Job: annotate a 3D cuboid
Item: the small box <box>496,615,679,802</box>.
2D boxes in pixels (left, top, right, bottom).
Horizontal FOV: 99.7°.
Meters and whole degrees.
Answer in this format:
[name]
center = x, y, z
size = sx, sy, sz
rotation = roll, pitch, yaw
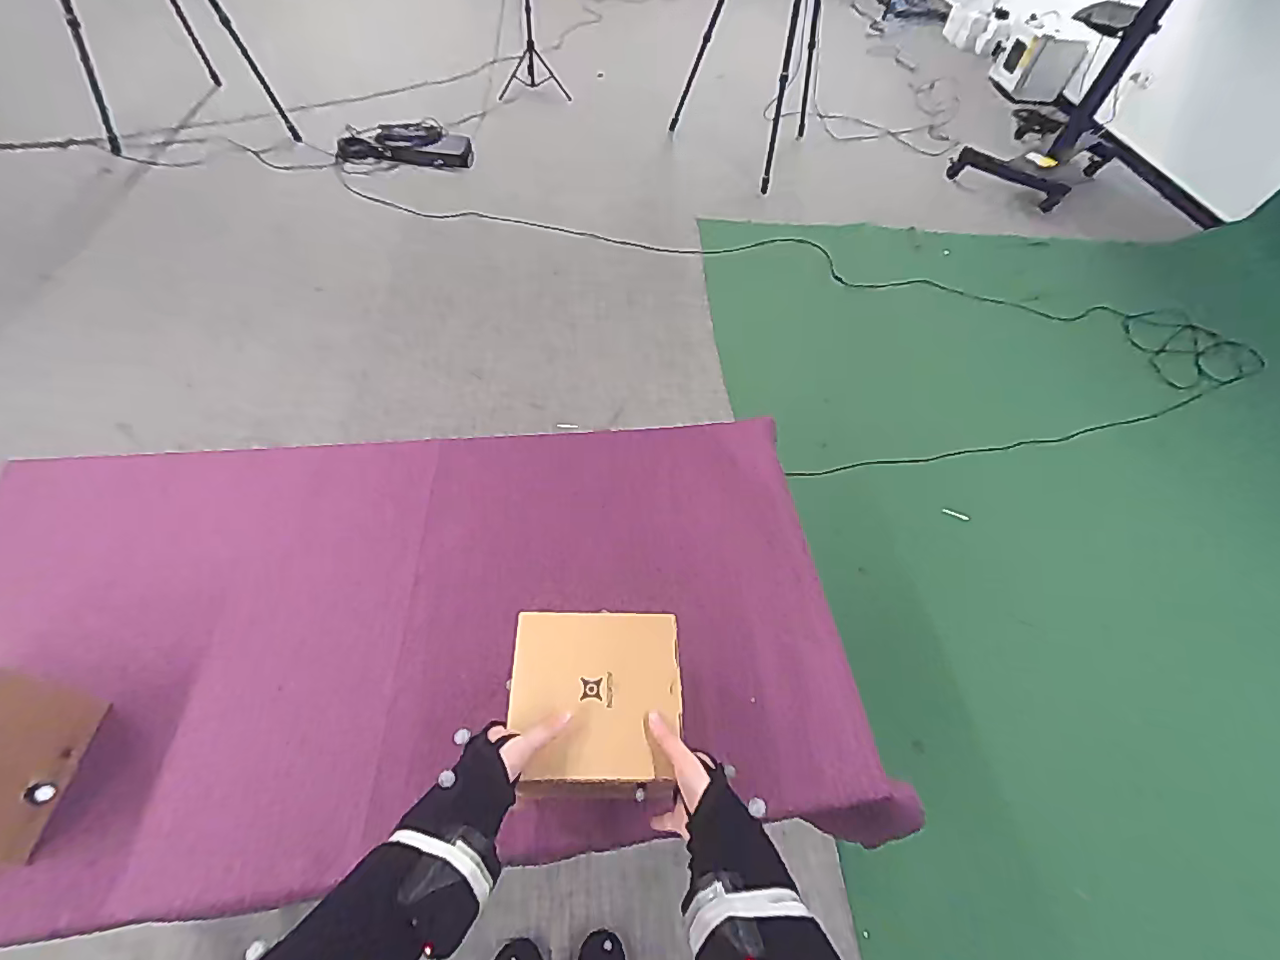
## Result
[small box]
center = -0.055, 0.266, 0.620
size = 0.179, 0.176, 0.168
rotation = 2, 54, -5
